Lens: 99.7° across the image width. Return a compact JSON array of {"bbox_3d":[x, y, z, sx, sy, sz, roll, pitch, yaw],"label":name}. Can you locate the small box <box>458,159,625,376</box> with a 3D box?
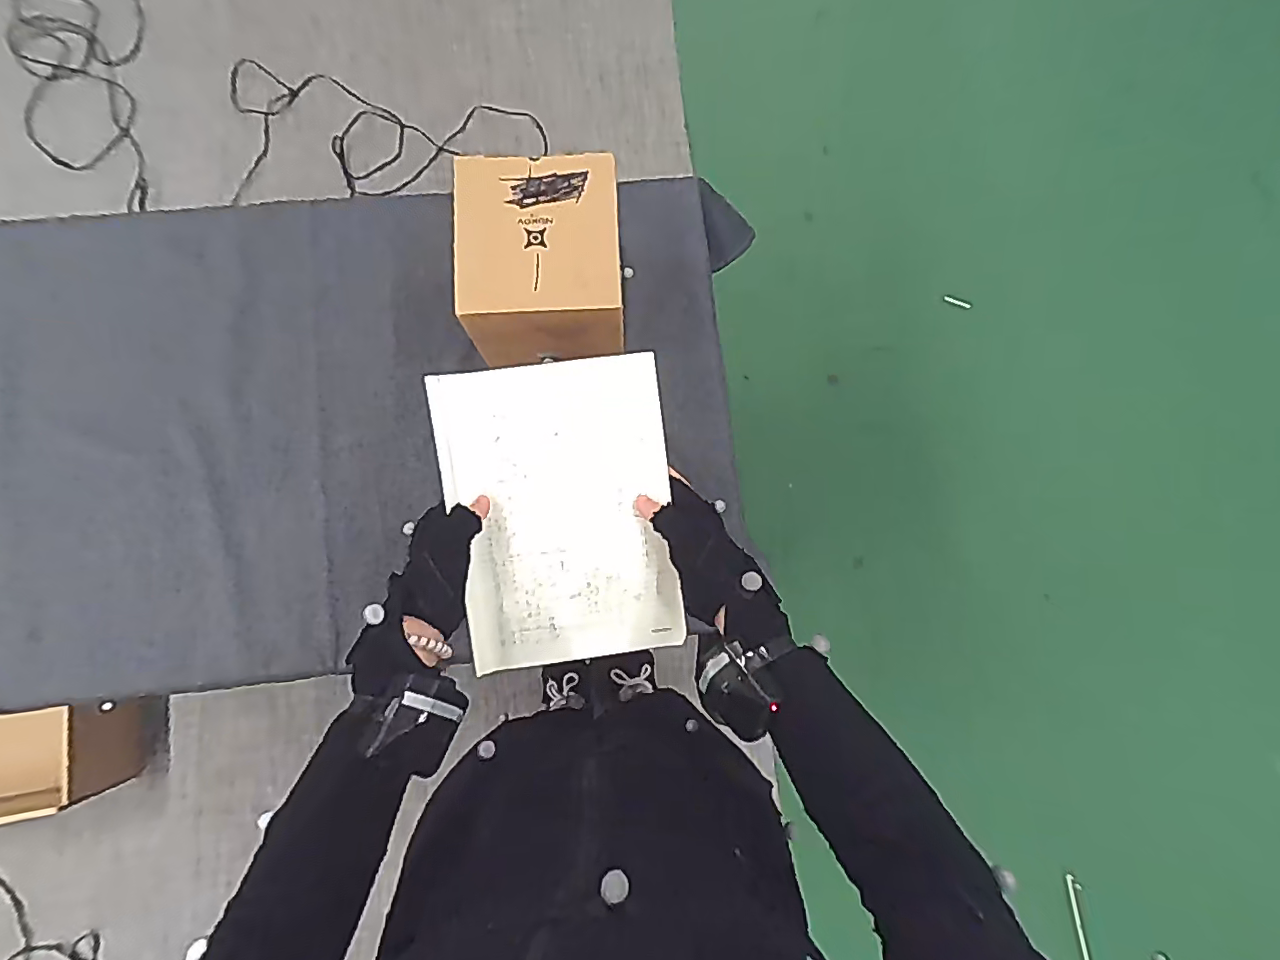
[{"bbox_3d":[-0.103,-0.234,0.625,0.168,0.176,0.179,-3,80,-2],"label":"small box"}]
